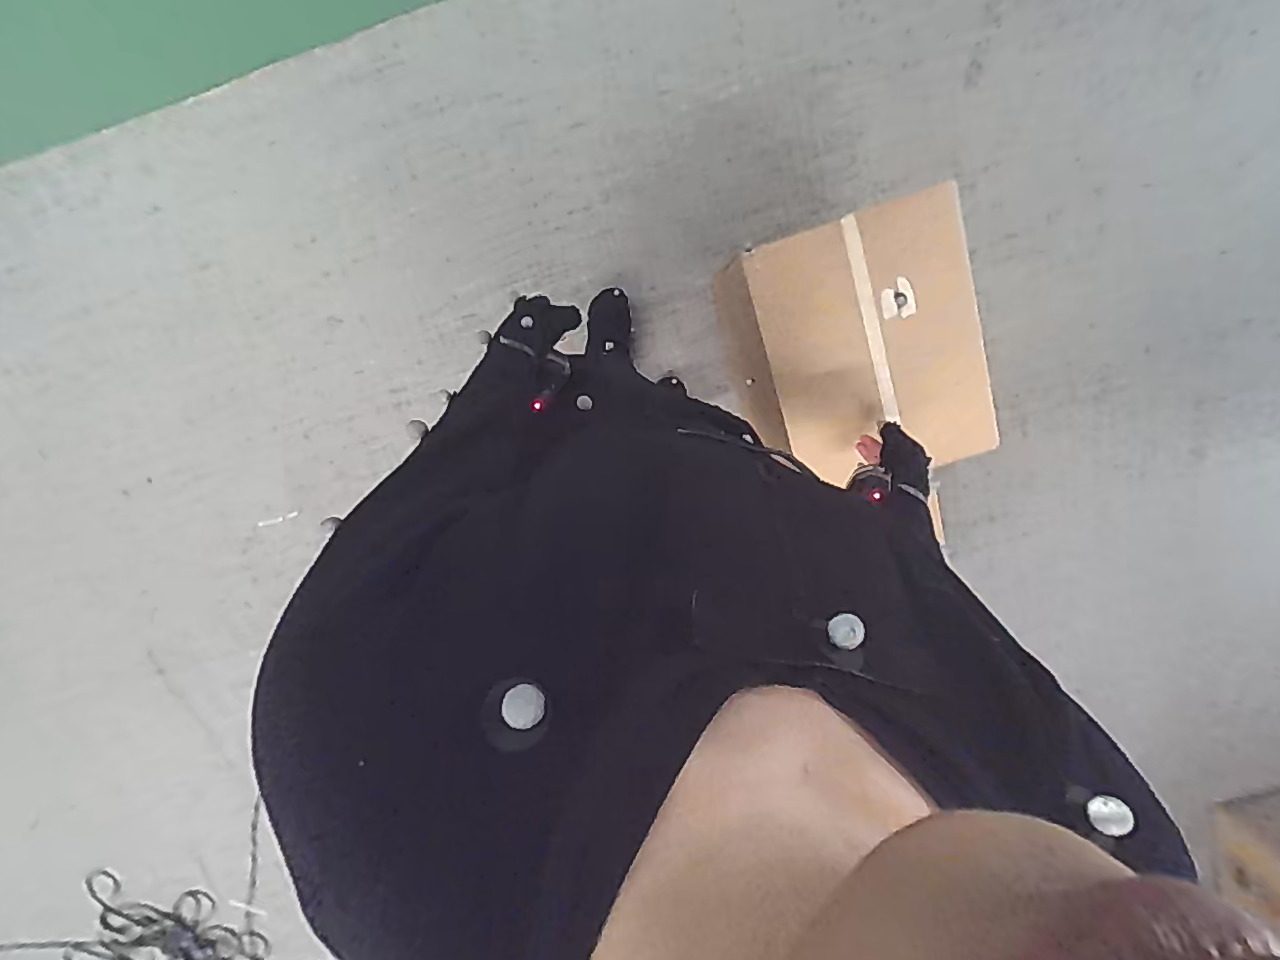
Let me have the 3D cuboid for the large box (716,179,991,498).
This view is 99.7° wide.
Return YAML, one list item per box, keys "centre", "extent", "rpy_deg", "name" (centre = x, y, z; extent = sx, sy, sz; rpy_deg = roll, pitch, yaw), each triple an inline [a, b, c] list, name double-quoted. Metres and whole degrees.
- centre: [0.344, -0.229, 0.954]
  extent: [0.320, 0.320, 0.408]
  rpy_deg: [-17, 102, 6]
  name: "large box"
